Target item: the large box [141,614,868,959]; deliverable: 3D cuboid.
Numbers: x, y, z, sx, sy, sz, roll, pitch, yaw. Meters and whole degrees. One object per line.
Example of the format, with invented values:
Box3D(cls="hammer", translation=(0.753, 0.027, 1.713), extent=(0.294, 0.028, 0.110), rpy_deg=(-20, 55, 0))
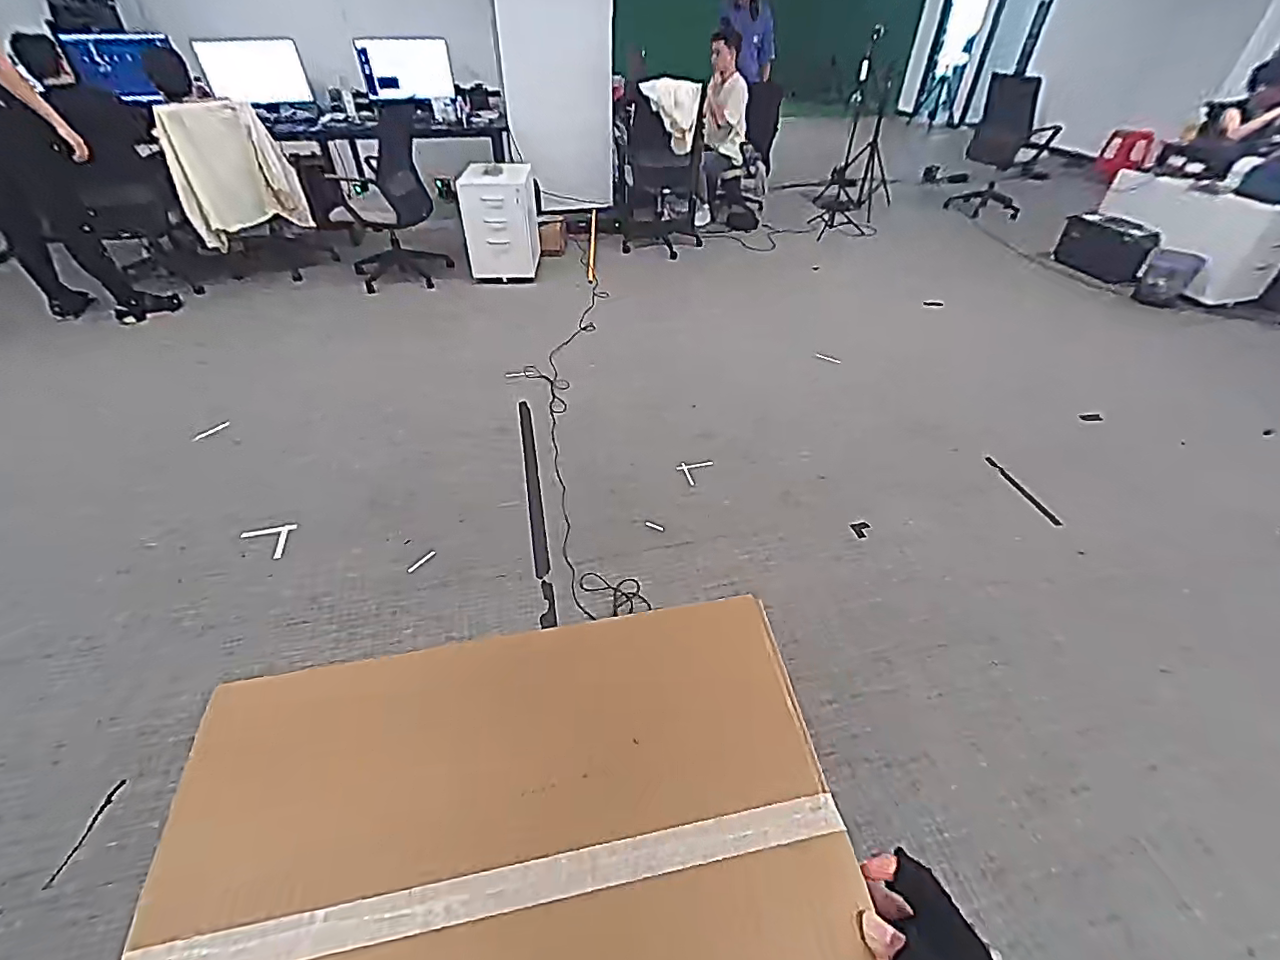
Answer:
Box3D(cls="large box", translation=(-0.077, 0.347, 0.428), extent=(0.408, 0.320, 0.320), rpy_deg=(-9, 48, -7))
